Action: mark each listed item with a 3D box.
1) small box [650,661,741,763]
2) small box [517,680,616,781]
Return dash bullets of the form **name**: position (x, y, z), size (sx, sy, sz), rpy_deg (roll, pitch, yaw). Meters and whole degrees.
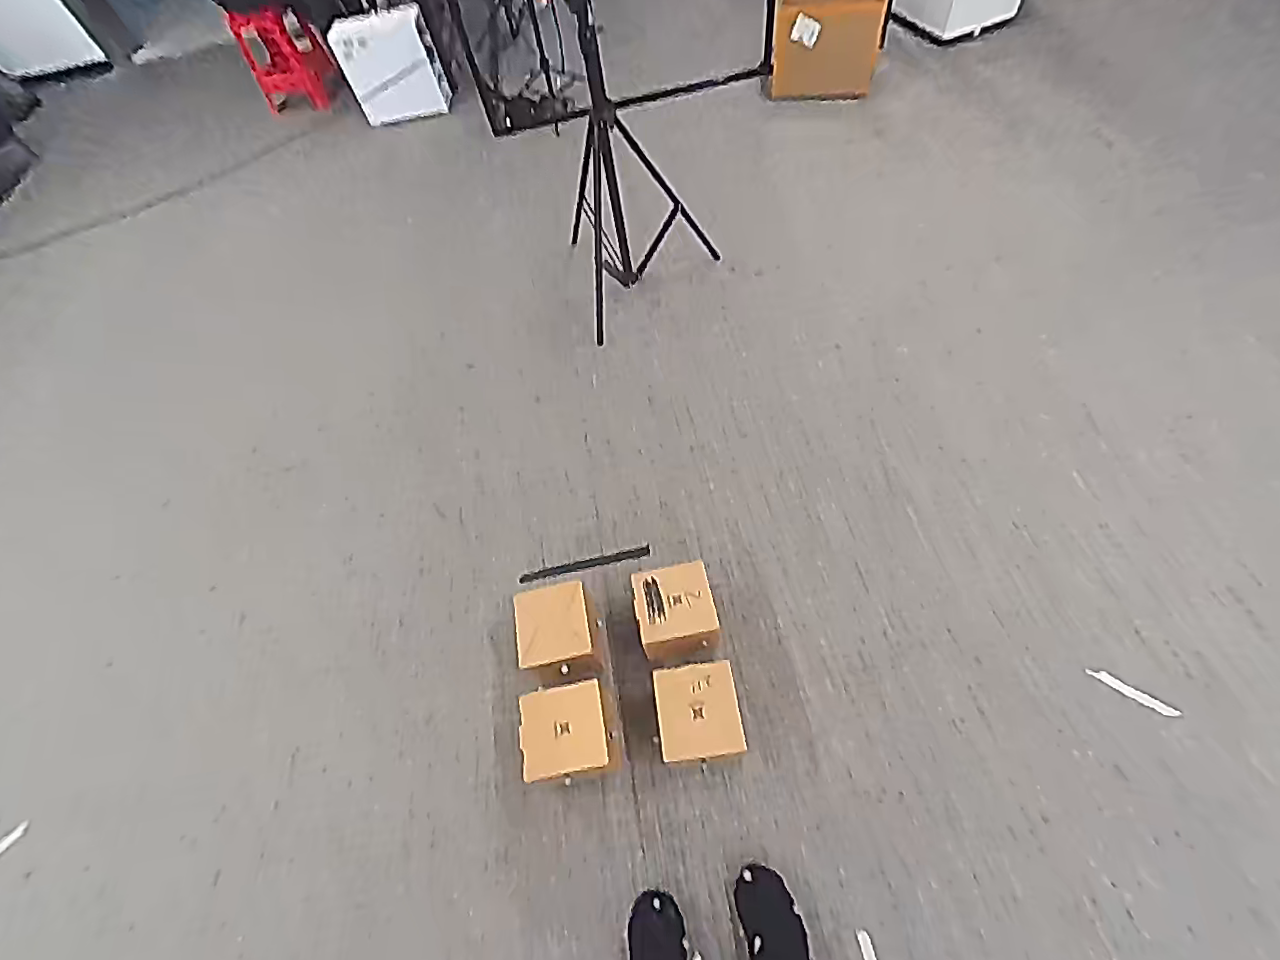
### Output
- **small box**: position (0.119, 0.504, 1.163), size (0.168, 0.176, 0.179), rpy_deg (-9, 58, 2)
- **small box**: position (-0.154, 0.549, 1.179), size (0.179, 0.176, 0.168), rpy_deg (-13, 58, 1)
